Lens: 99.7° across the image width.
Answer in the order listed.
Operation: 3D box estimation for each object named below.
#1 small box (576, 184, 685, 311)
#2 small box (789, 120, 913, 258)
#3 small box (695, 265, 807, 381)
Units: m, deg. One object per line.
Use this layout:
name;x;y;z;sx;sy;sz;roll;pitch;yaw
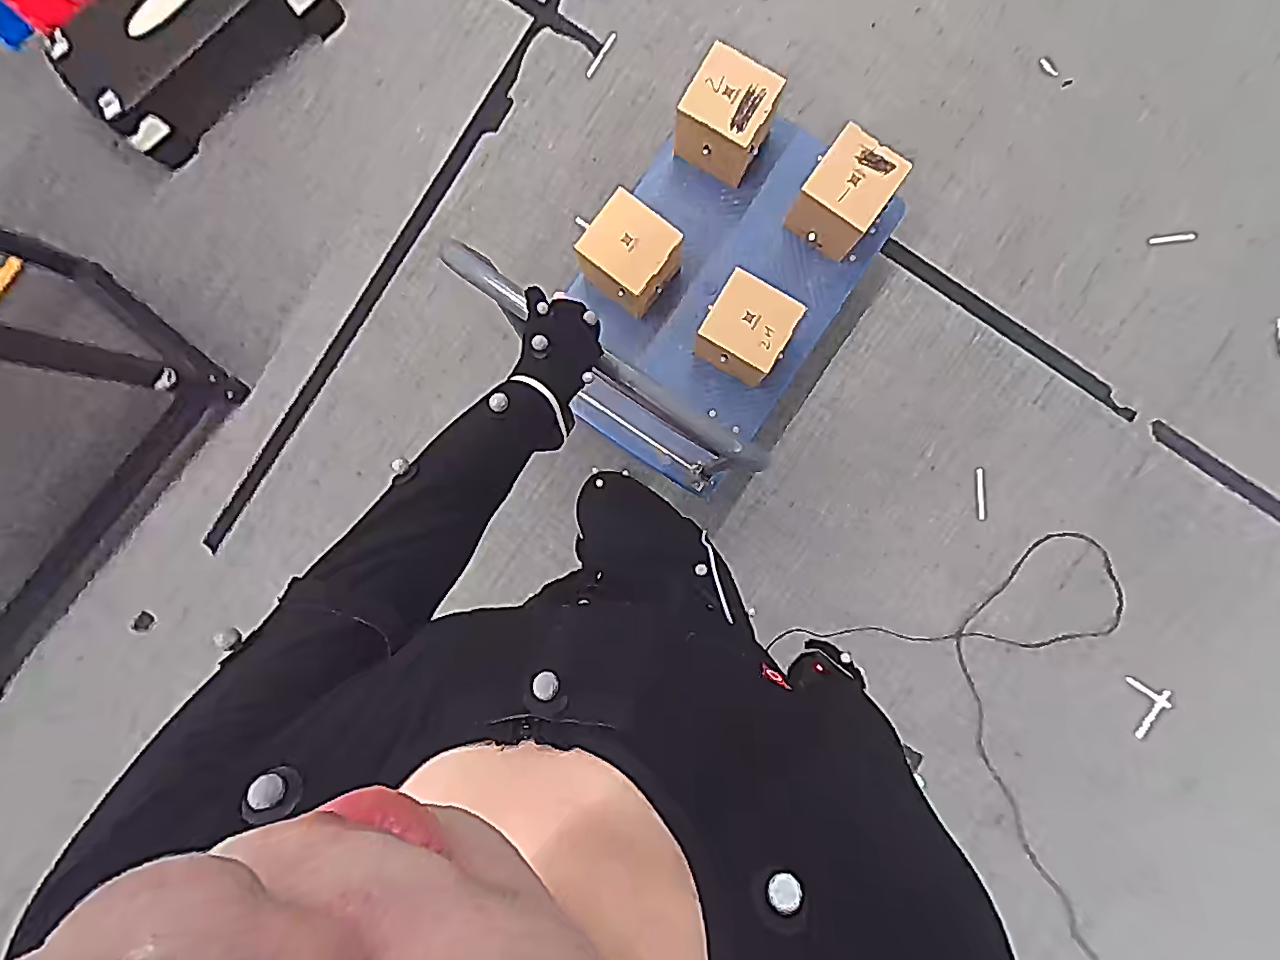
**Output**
small box;-0.020;-0.512;1.223;0.179;0.176;0.168;38;91;-1
small box;0.459;-0.638;1.210;0.168;0.176;0.179;36;92;1
small box;0.238;-0.342;1.218;0.179;0.176;0.168;32;91;1
